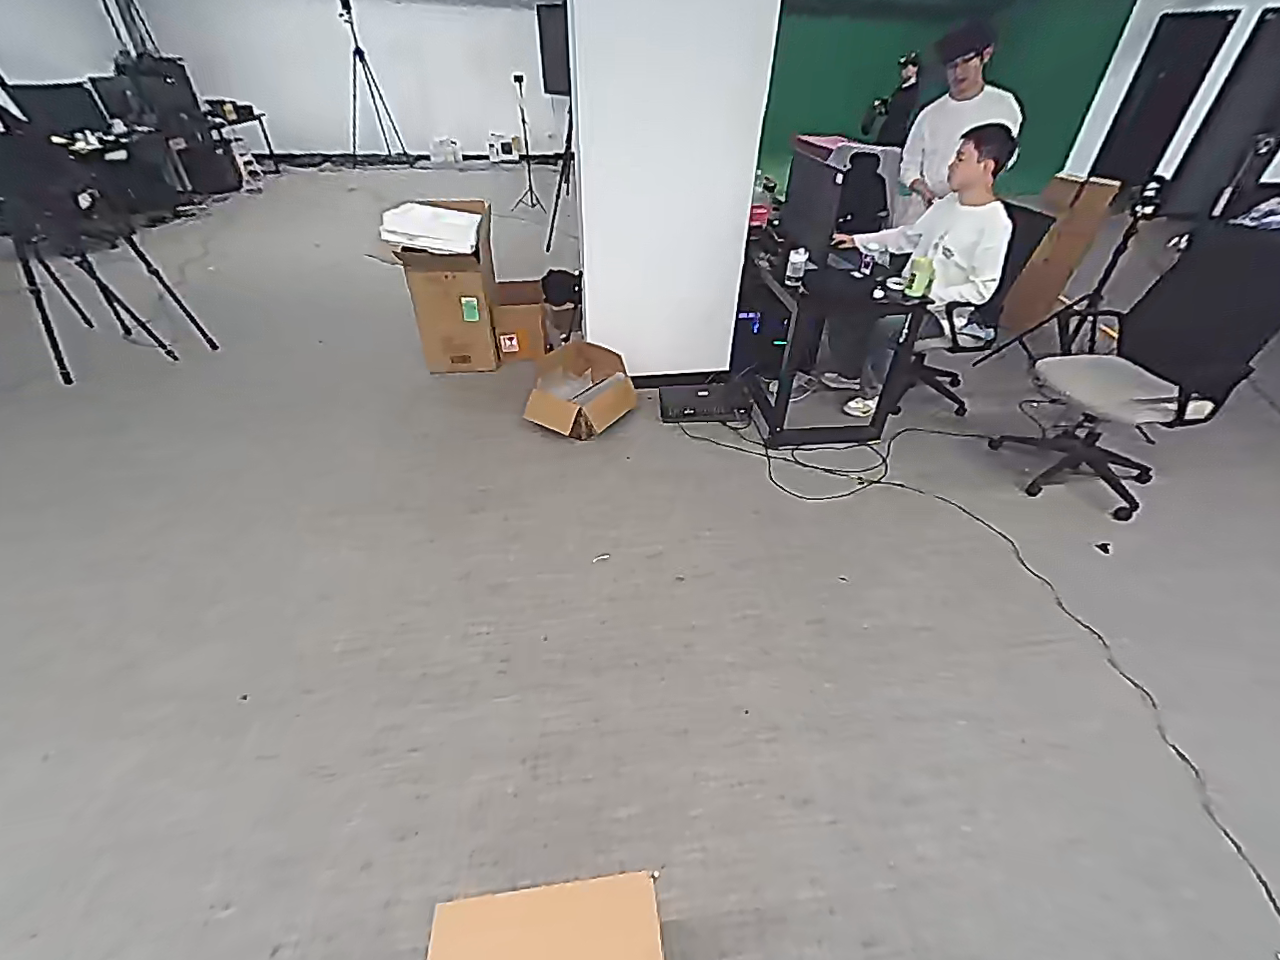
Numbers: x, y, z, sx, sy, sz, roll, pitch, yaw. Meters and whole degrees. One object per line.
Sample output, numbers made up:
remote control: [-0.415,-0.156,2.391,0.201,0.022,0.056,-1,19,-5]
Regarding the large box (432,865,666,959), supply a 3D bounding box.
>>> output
large box: [-0.155,0.967,0.985,0.408,0.320,0.320,-3,39,-7]
